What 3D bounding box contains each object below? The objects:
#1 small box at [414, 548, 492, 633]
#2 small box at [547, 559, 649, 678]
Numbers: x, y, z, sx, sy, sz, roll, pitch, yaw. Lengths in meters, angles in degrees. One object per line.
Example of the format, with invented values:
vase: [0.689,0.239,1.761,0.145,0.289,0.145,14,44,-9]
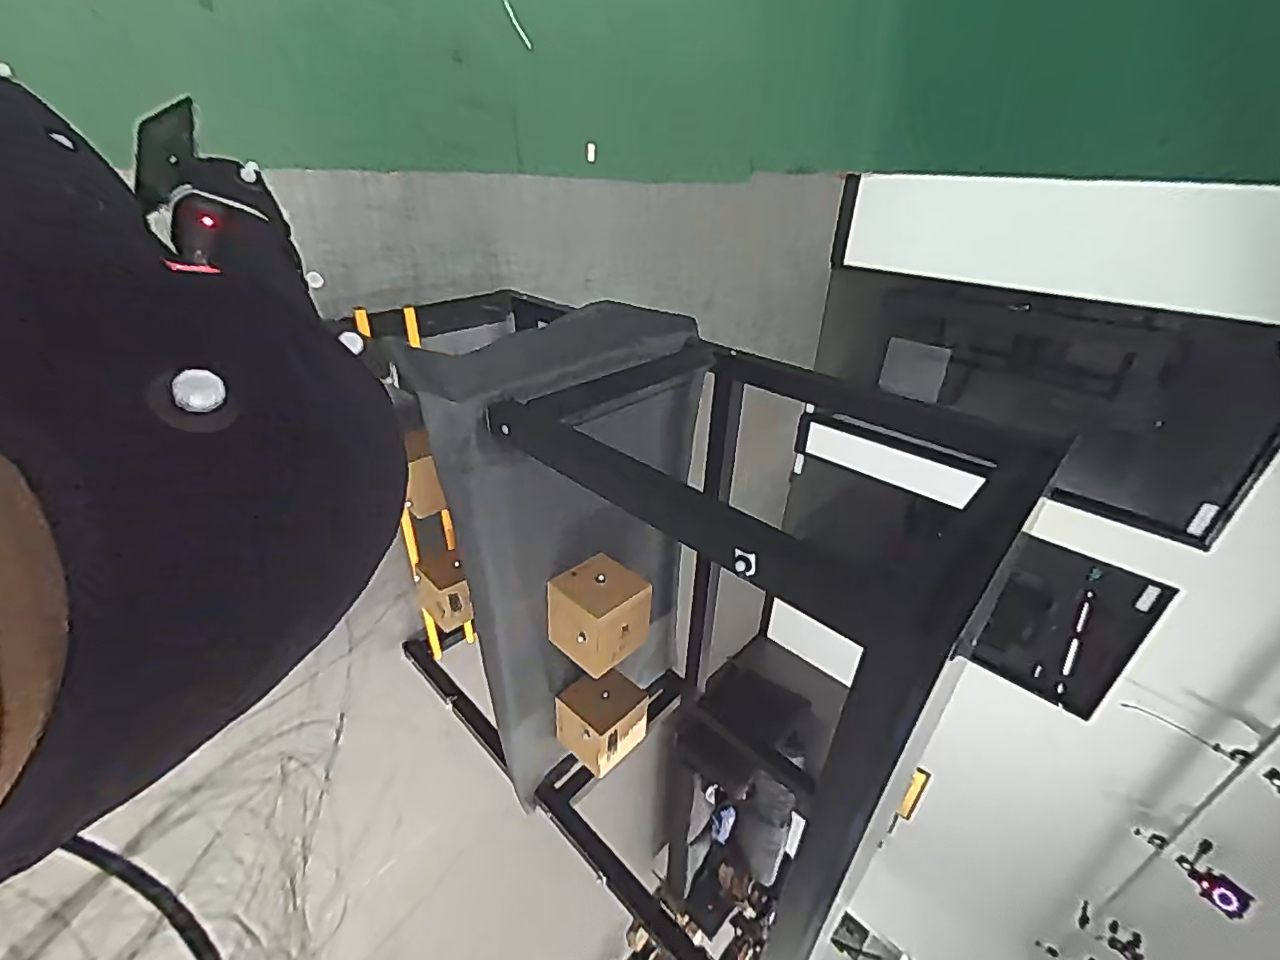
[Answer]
small box: [-0.593,0.341,1.705,0.179,0.176,0.168,-24,129,-42]
small box: [-0.099,0.301,1.228,0.168,0.176,0.179,-24,129,-41]
